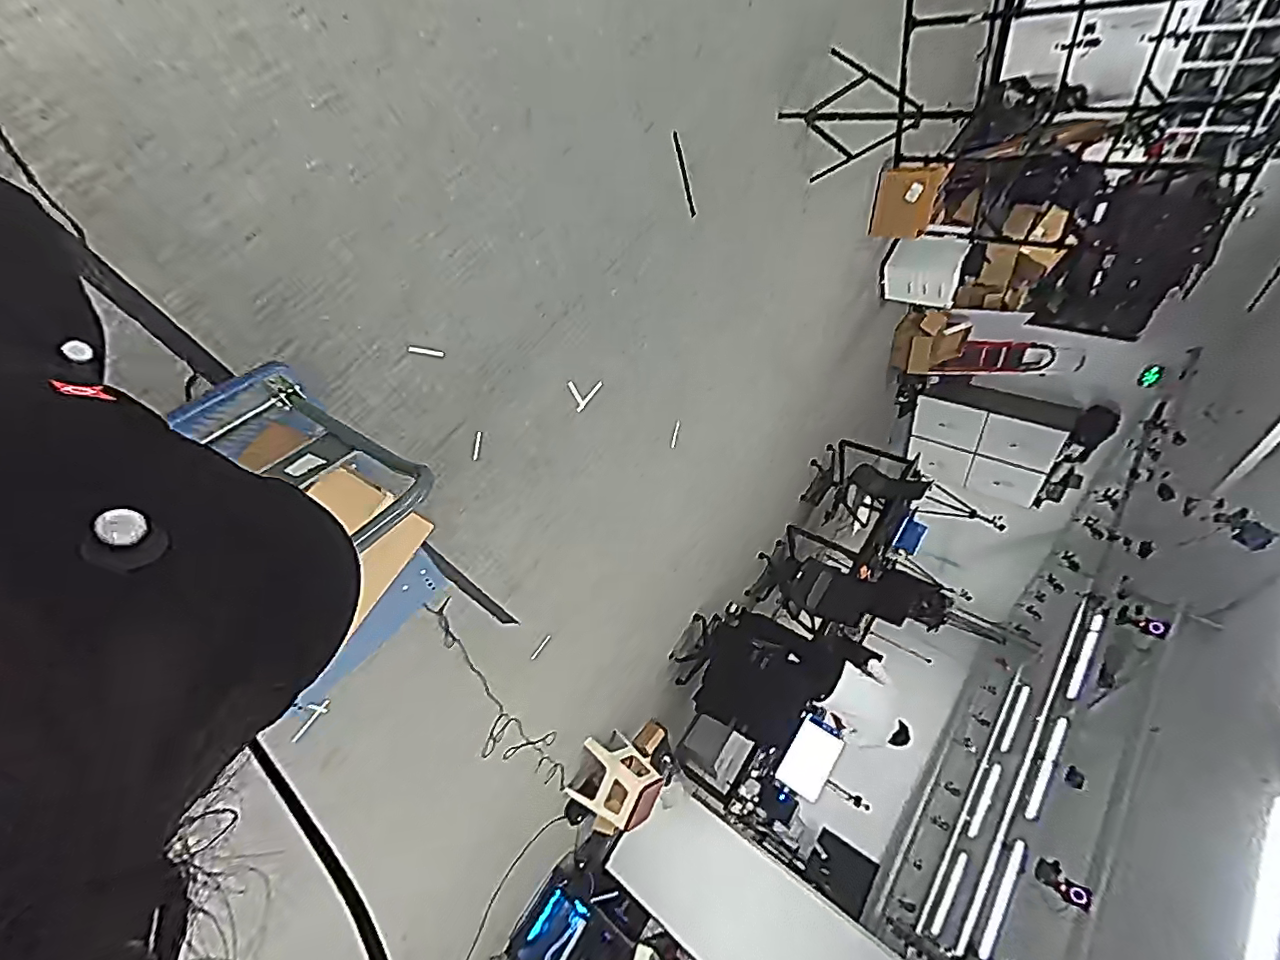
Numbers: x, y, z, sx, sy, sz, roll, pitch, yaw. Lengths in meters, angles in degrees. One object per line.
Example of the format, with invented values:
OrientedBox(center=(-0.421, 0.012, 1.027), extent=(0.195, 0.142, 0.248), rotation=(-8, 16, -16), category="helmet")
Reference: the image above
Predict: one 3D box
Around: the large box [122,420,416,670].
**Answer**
OrientedBox(center=(-0.806, 0.140, 1.209), extent=(0.408, 0.320, 0.320), rotation=(-56, 146, -15), category="large box")
